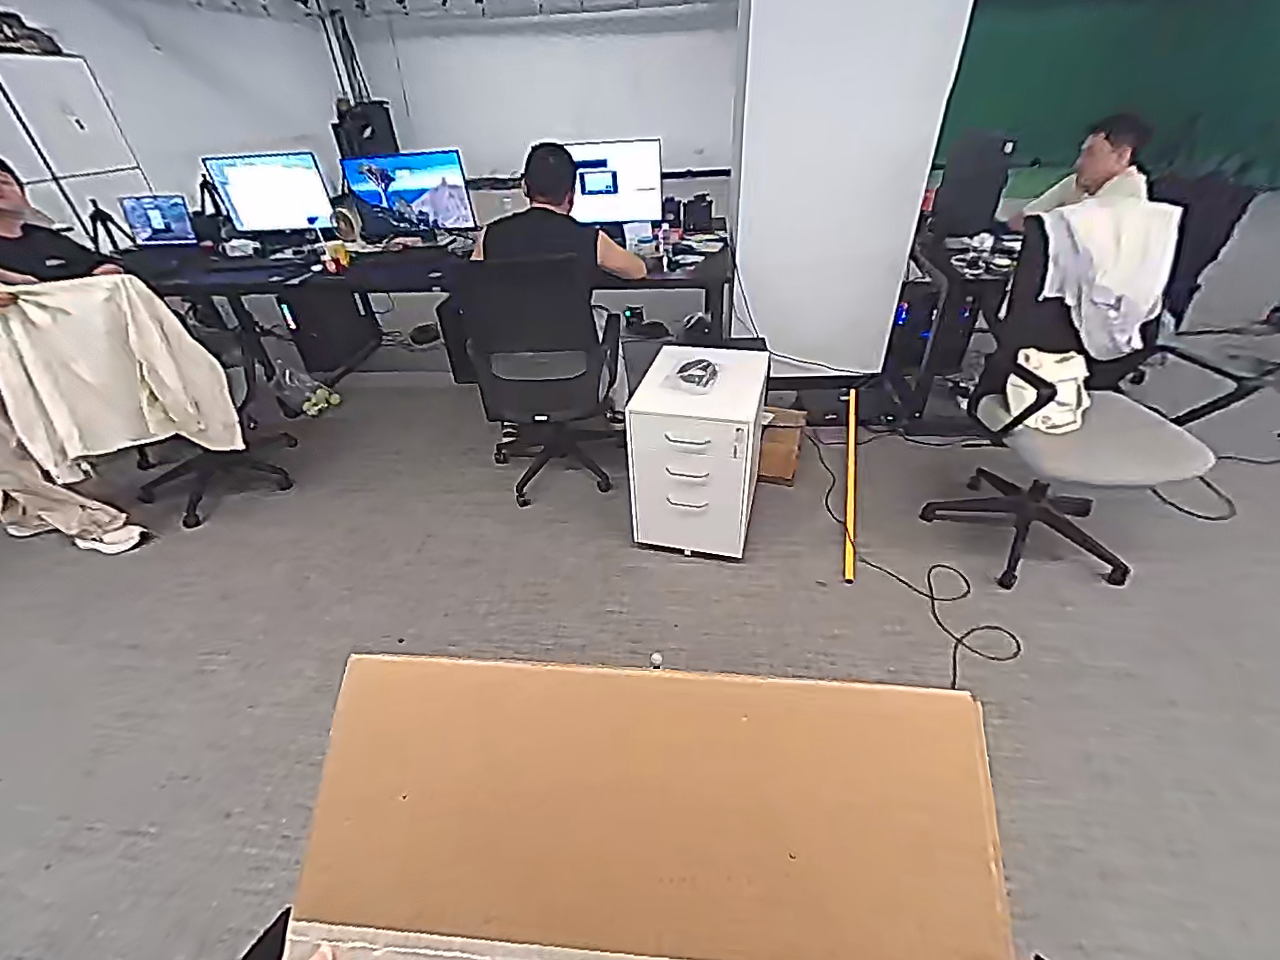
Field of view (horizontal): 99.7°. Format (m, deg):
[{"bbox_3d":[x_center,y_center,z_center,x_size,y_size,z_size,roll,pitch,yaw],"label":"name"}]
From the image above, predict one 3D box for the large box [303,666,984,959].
[{"bbox_3d":[0.007,0.328,0.455,0.408,0.320,0.320,2,71,5],"label":"large box"}]
